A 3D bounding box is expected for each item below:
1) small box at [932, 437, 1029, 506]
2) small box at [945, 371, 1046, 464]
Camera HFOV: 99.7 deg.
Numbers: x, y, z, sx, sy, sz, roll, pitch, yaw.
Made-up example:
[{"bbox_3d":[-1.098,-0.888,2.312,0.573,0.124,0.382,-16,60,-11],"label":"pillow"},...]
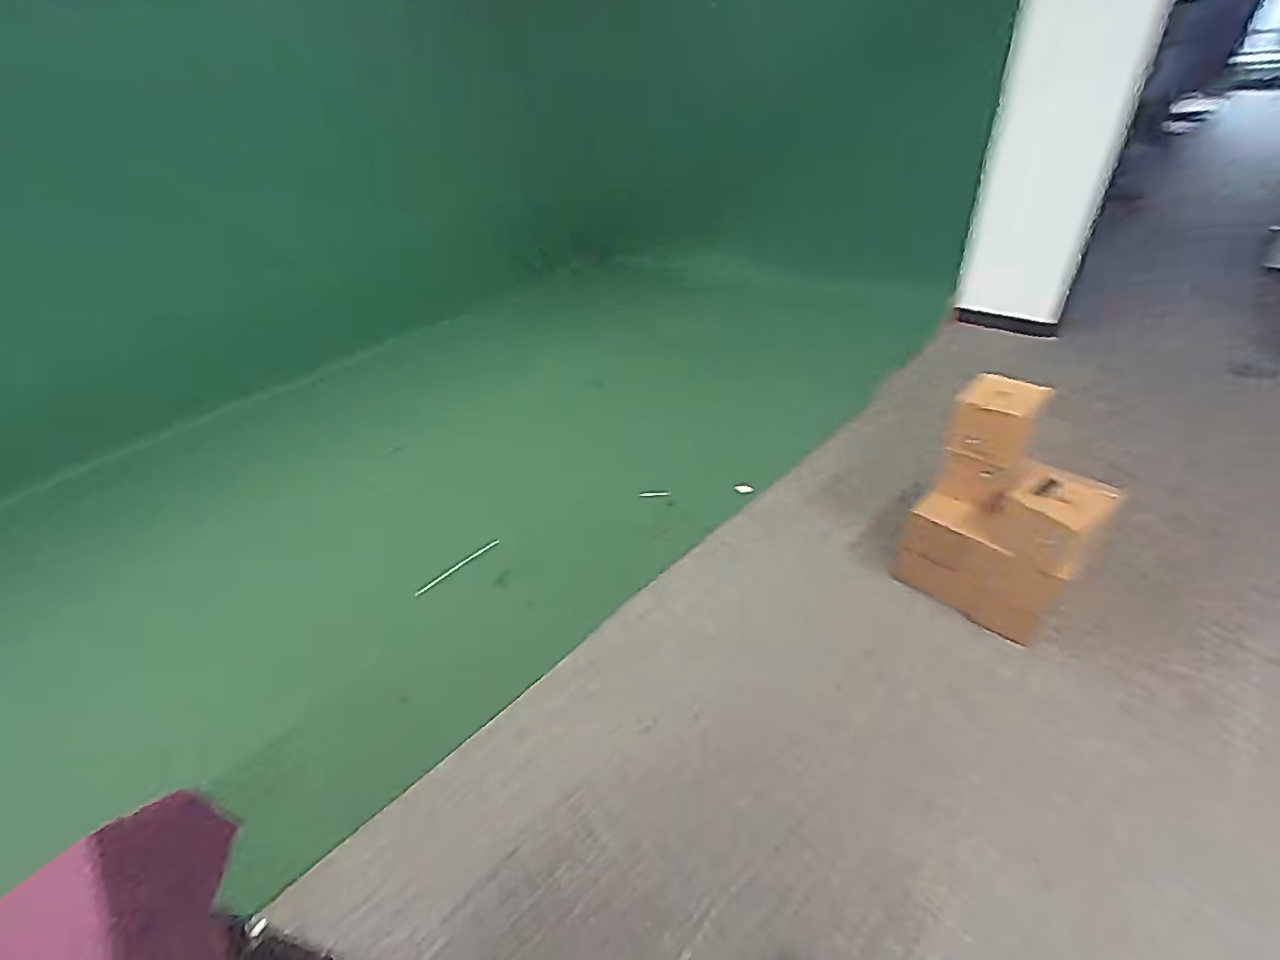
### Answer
[{"bbox_3d":[1.001,-0.047,1.599,0.168,0.176,0.179,-35,45,-29],"label":"small box"},{"bbox_3d":[0.977,-0.174,1.500,0.179,0.176,0.168,-34,44,-27],"label":"small box"}]
